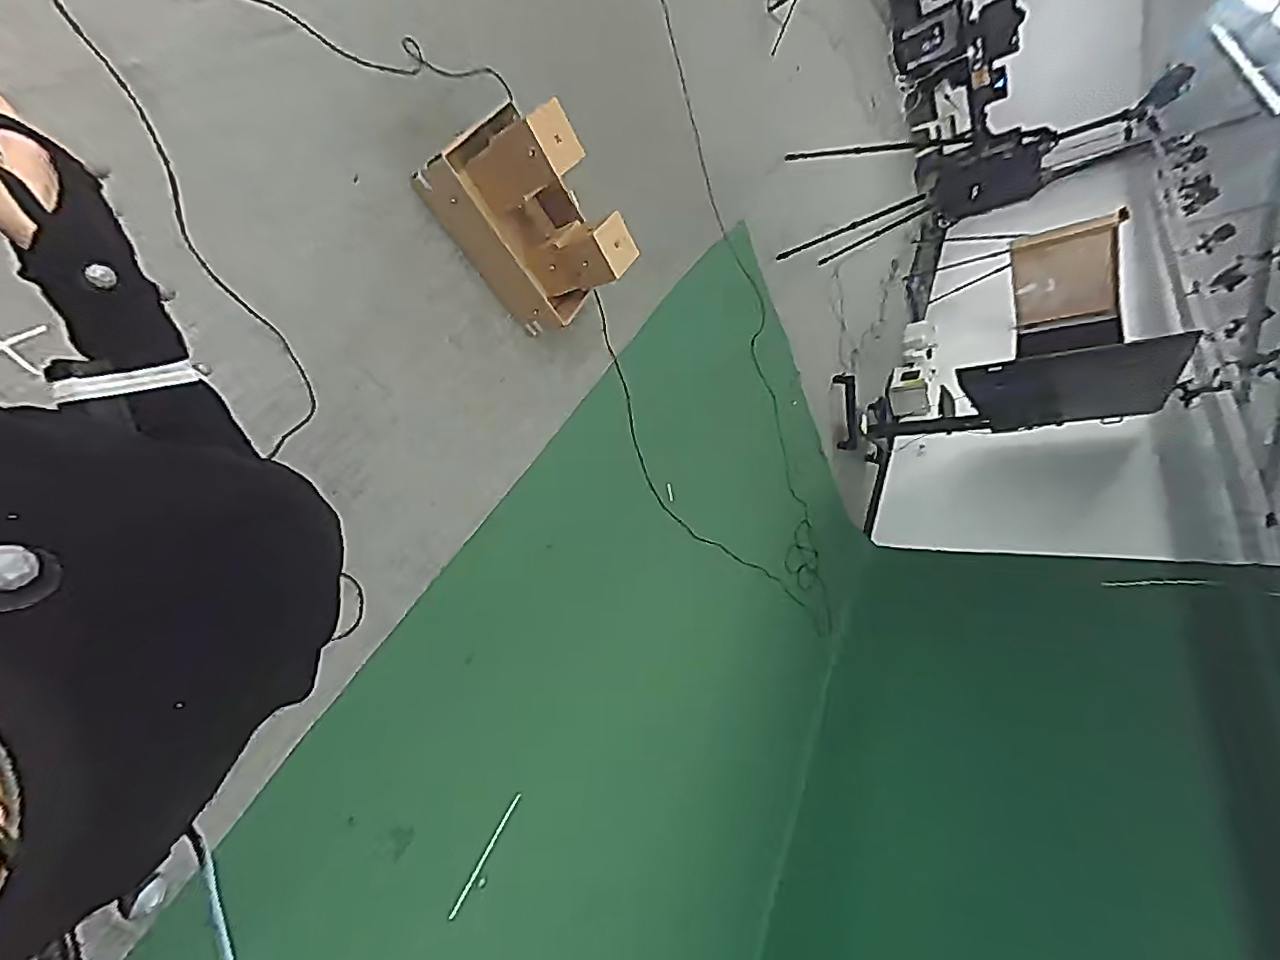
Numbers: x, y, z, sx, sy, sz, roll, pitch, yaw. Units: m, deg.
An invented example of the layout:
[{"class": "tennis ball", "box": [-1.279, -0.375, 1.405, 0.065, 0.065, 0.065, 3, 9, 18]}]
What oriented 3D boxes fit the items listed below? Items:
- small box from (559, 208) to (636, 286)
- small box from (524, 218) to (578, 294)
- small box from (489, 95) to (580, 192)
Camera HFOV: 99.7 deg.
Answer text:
[{"class": "small box", "box": [-0.151, -0.791, 1.850, 0.168, 0.176, 0.179, 56, 49, -35]}, {"class": "small box", "box": [-0.285, -0.800, 1.947, 0.179, 0.176, 0.168, 55, 50, -34]}, {"class": "small box", "box": [-0.323, -1.020, 1.648, 0.179, 0.176, 0.168, 56, 51, -35]}]
